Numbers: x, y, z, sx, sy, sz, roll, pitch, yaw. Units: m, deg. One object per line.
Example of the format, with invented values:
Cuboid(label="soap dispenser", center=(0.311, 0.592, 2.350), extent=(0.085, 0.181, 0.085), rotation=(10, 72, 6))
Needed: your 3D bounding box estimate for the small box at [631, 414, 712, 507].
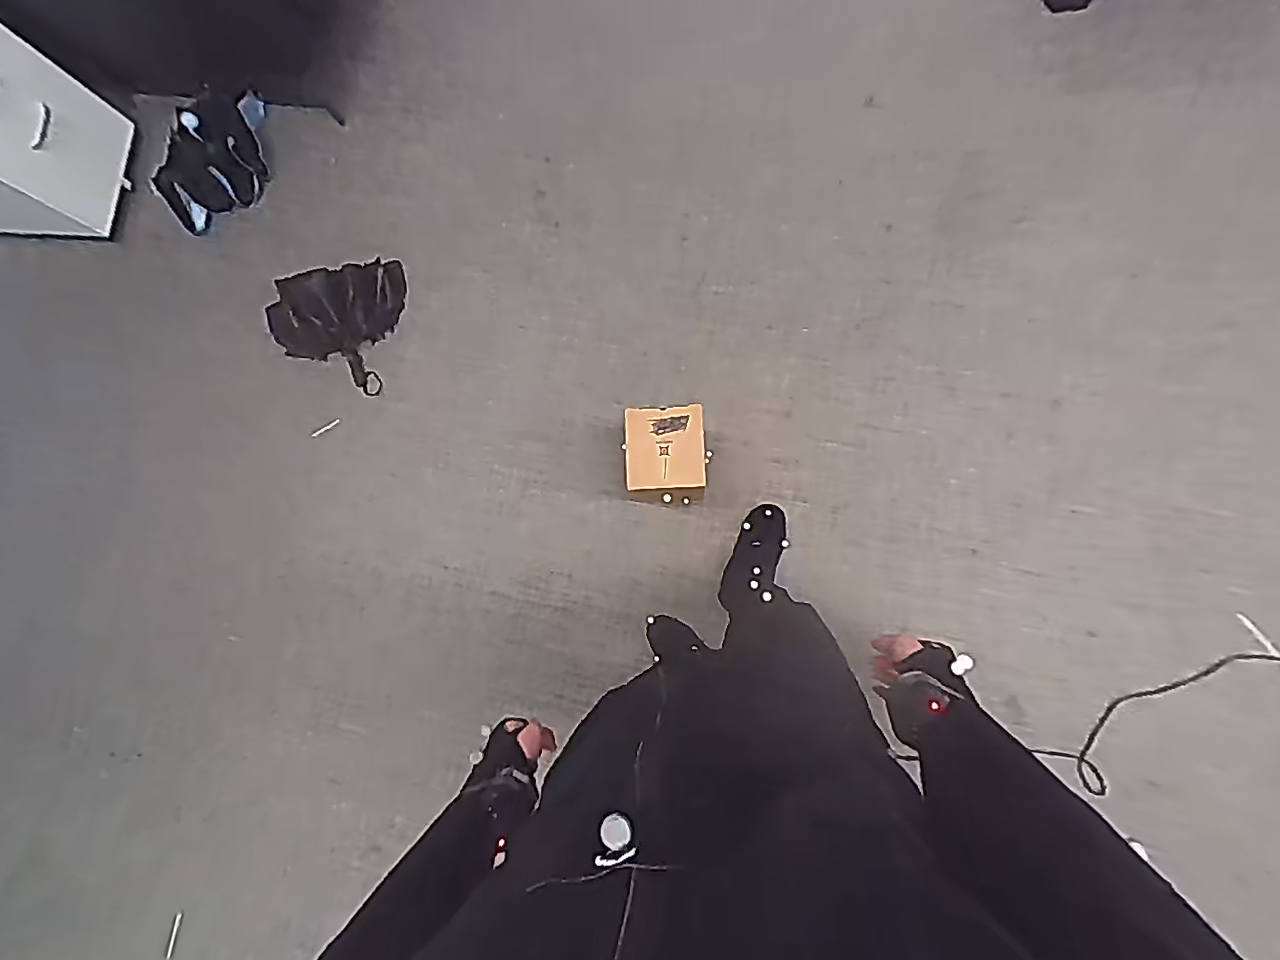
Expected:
Cuboid(label="small box", center=(0.073, -0.038, 1.196), extent=(0.168, 0.176, 0.179), rotation=(-3, 82, 8))

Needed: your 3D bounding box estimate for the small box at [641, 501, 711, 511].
Cuboid(label="small box", center=(0.091, -0.017, 1.359), extent=(0.168, 0.176, 0.179), rotation=(-4, 80, 7))
